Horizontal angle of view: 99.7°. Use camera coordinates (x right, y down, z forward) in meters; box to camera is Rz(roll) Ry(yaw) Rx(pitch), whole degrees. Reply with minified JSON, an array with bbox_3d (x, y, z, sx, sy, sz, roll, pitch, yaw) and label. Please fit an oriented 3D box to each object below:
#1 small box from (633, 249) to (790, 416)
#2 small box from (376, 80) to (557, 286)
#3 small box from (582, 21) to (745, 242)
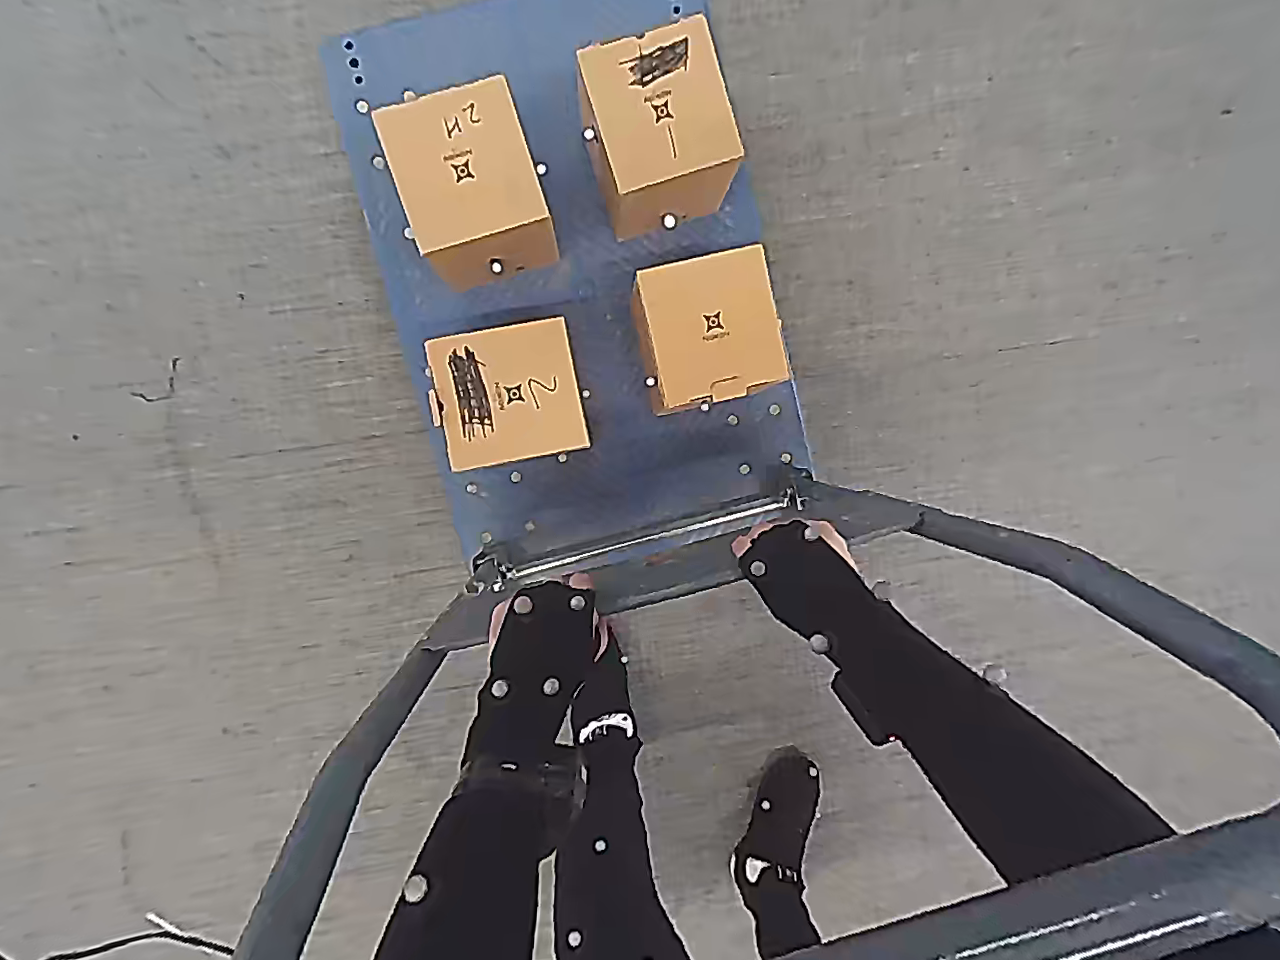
[{"bbox_3d":[0.089,-0.195,0.760,0.168,0.176,0.179,-13,95,-3],"label":"small box"},{"bbox_3d":[-0.216,-0.378,0.727,0.168,0.176,0.179,-18,95,-3],"label":"small box"},{"bbox_3d":[0.024,-0.457,0.737,0.168,0.176,0.179,-18,96,-2],"label":"small box"}]
